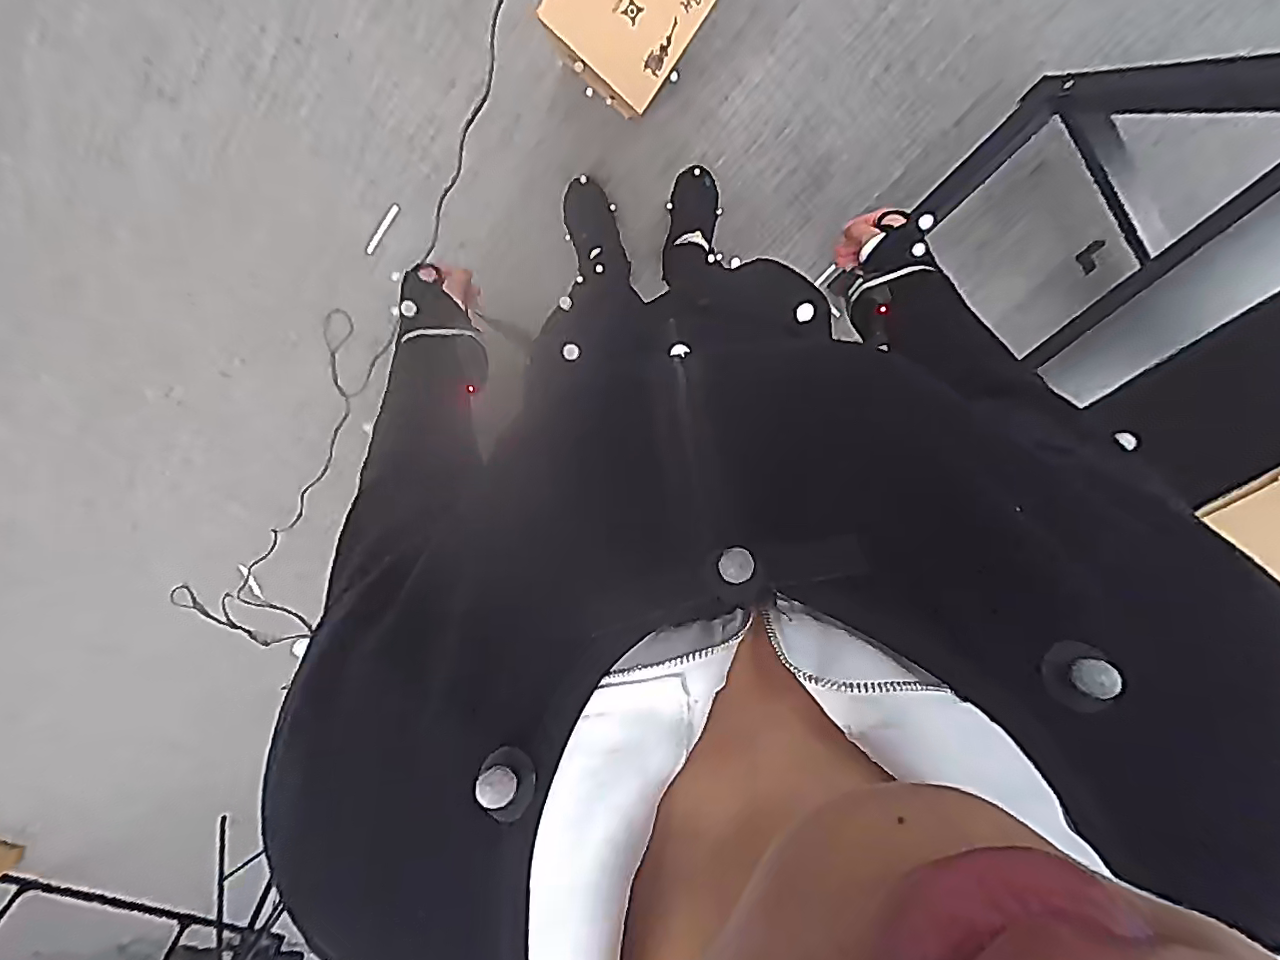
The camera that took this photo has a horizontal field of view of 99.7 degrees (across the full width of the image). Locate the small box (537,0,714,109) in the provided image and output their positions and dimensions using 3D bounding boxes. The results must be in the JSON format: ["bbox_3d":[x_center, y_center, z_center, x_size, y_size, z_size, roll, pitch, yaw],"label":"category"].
[{"bbox_3d":[-0.020,-0.656,0.761,0.179,0.176,0.168,32,116,-21],"label":"small box"}]

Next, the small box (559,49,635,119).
[{"bbox_3d":[-0.037,-0.833,1.035,0.168,0.176,0.179,33,117,-21],"label":"small box"}]
